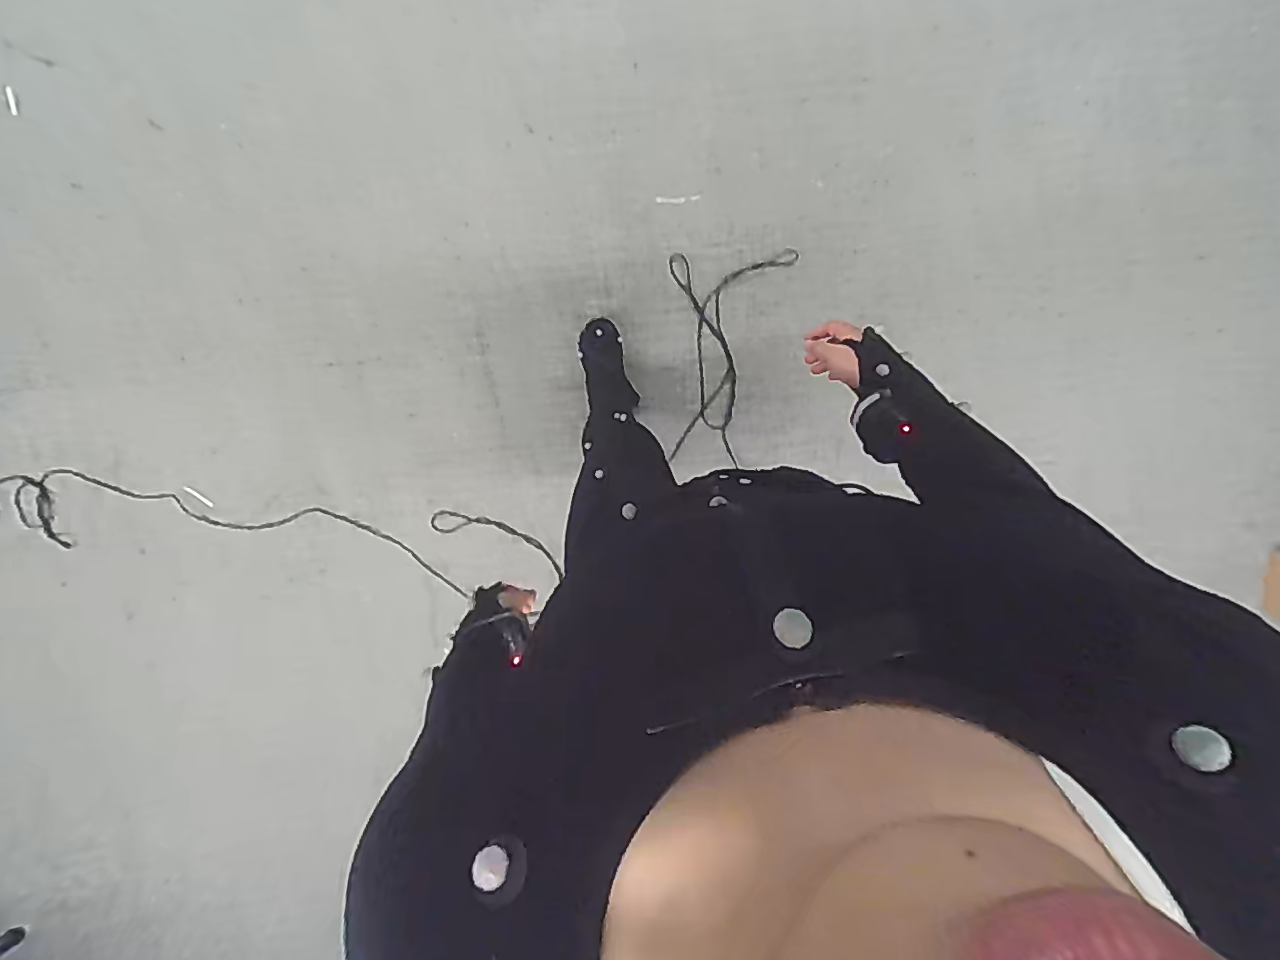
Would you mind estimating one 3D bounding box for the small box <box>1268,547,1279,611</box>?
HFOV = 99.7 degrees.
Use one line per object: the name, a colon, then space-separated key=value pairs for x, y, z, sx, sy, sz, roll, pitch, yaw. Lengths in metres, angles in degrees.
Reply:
small box: x=1.743 y=0.271 z=1.346 sx=0.168 sy=0.176 sz=0.179 roll=-3 pitch=98 yaw=3
